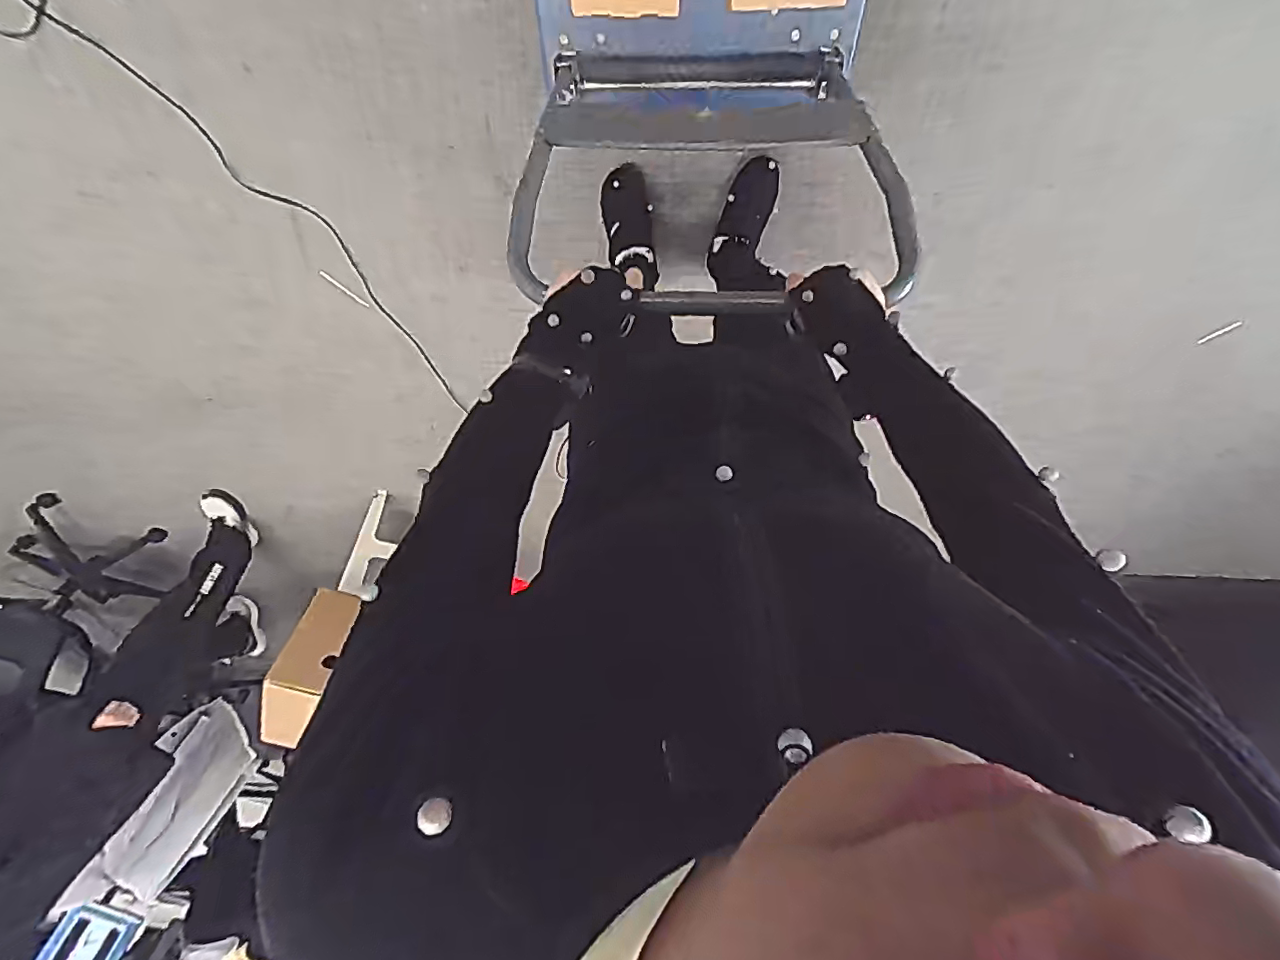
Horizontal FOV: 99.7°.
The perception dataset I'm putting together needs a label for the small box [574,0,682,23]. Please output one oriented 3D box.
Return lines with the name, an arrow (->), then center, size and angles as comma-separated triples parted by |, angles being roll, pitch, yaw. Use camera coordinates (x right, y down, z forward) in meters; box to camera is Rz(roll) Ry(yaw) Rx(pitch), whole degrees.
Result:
small box -> -0.017, -0.828, 0.822 | 0.168, 0.176, 0.179 | 1, 141, 1
